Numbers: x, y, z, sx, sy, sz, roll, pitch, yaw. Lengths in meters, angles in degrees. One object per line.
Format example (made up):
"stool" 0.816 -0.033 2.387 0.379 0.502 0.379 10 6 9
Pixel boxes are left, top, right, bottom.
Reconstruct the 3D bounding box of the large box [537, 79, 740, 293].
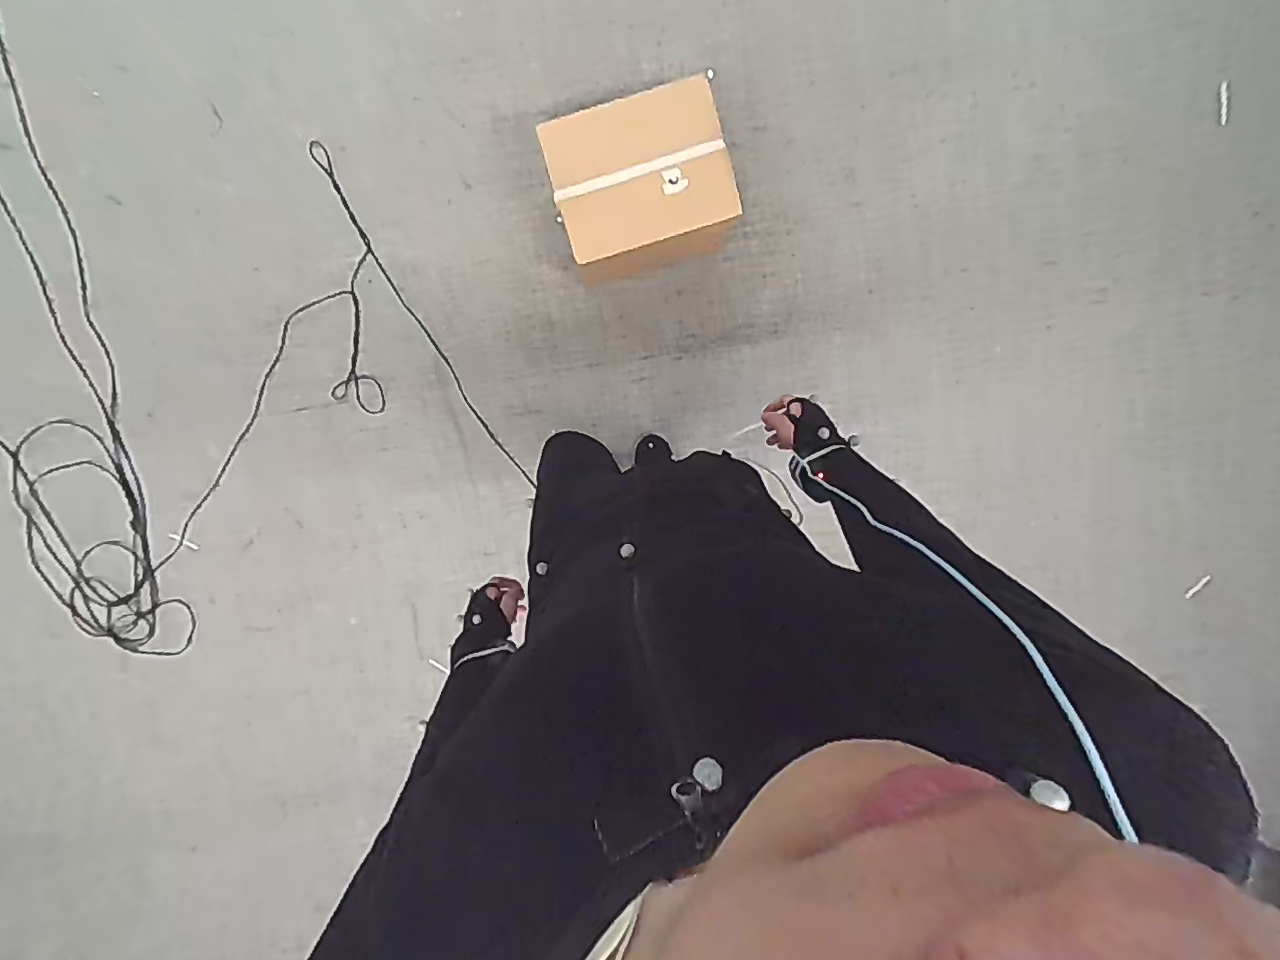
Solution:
"large box" -0.006 -0.715 1.381 0.408 0.320 0.320 -17 98 1
